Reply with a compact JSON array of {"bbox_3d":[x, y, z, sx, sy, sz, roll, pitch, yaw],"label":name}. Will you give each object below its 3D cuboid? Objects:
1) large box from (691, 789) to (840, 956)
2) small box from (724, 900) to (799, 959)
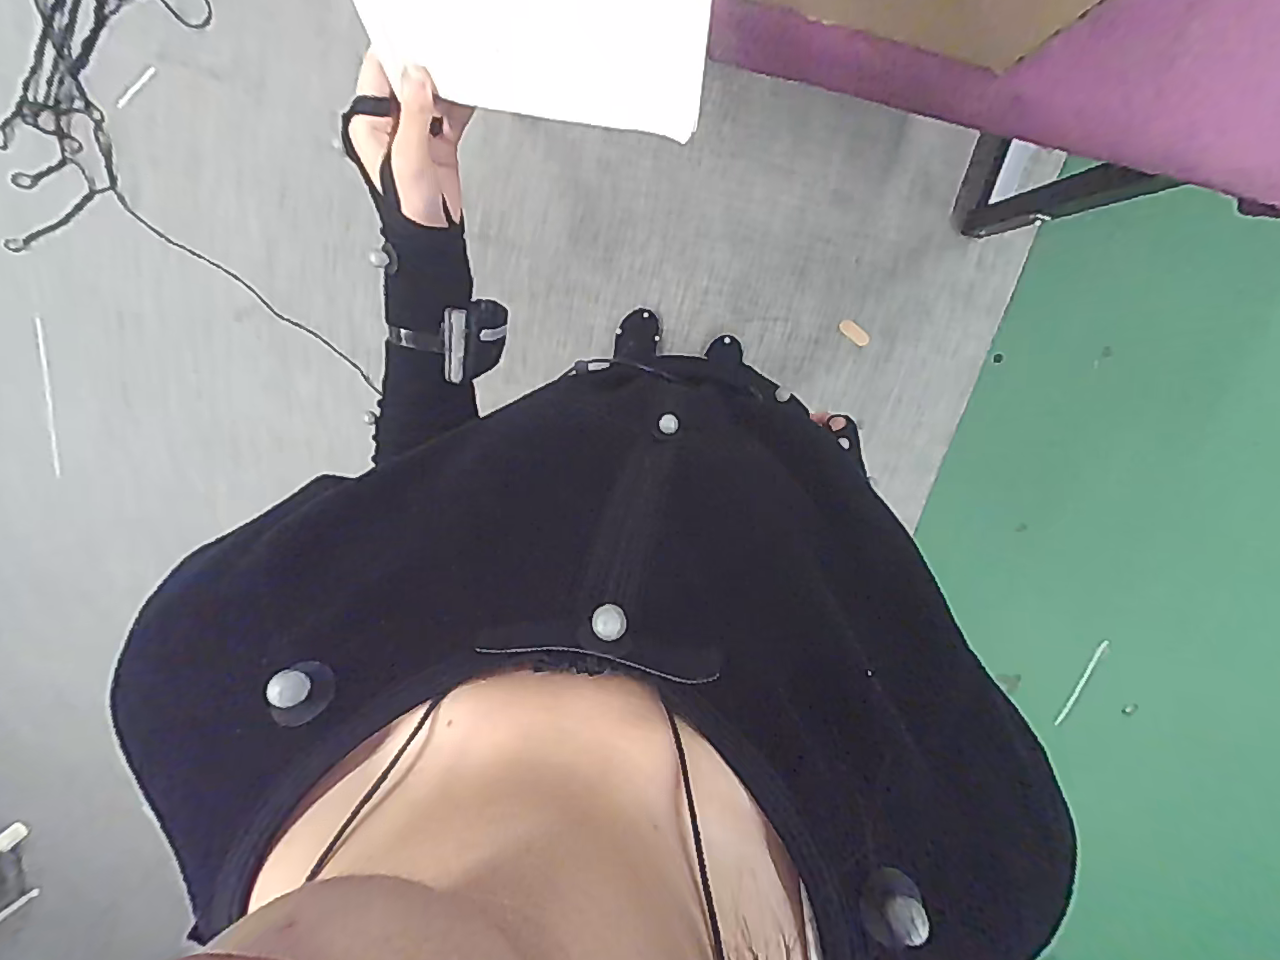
[{"bbox_3d":[0.370,1.219,1.703,0.408,0.320,0.320,-1,107,3],"label":"large box"},{"bbox_3d":[0.328,1.287,1.468,0.179,0.176,0.168,3,104,3],"label":"small box"}]
